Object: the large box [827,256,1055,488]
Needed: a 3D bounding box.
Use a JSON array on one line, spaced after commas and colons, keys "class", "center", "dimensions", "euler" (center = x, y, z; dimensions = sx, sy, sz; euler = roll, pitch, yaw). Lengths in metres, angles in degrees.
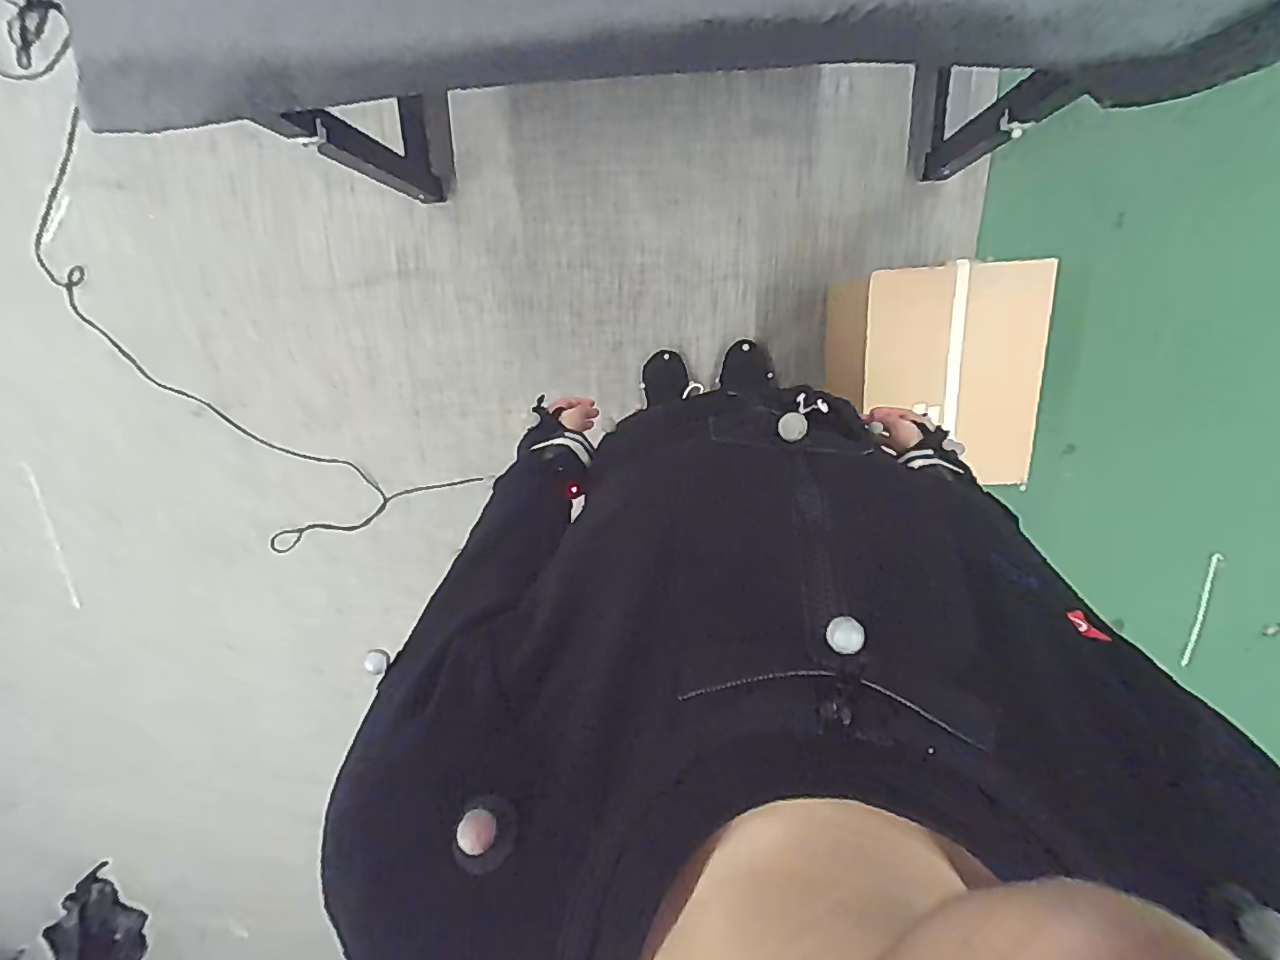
[{"class": "large box", "center": [0.583, -0.222, 1.125], "dimensions": [0.320, 0.320, 0.408], "euler": [-2, 105, 6]}]
